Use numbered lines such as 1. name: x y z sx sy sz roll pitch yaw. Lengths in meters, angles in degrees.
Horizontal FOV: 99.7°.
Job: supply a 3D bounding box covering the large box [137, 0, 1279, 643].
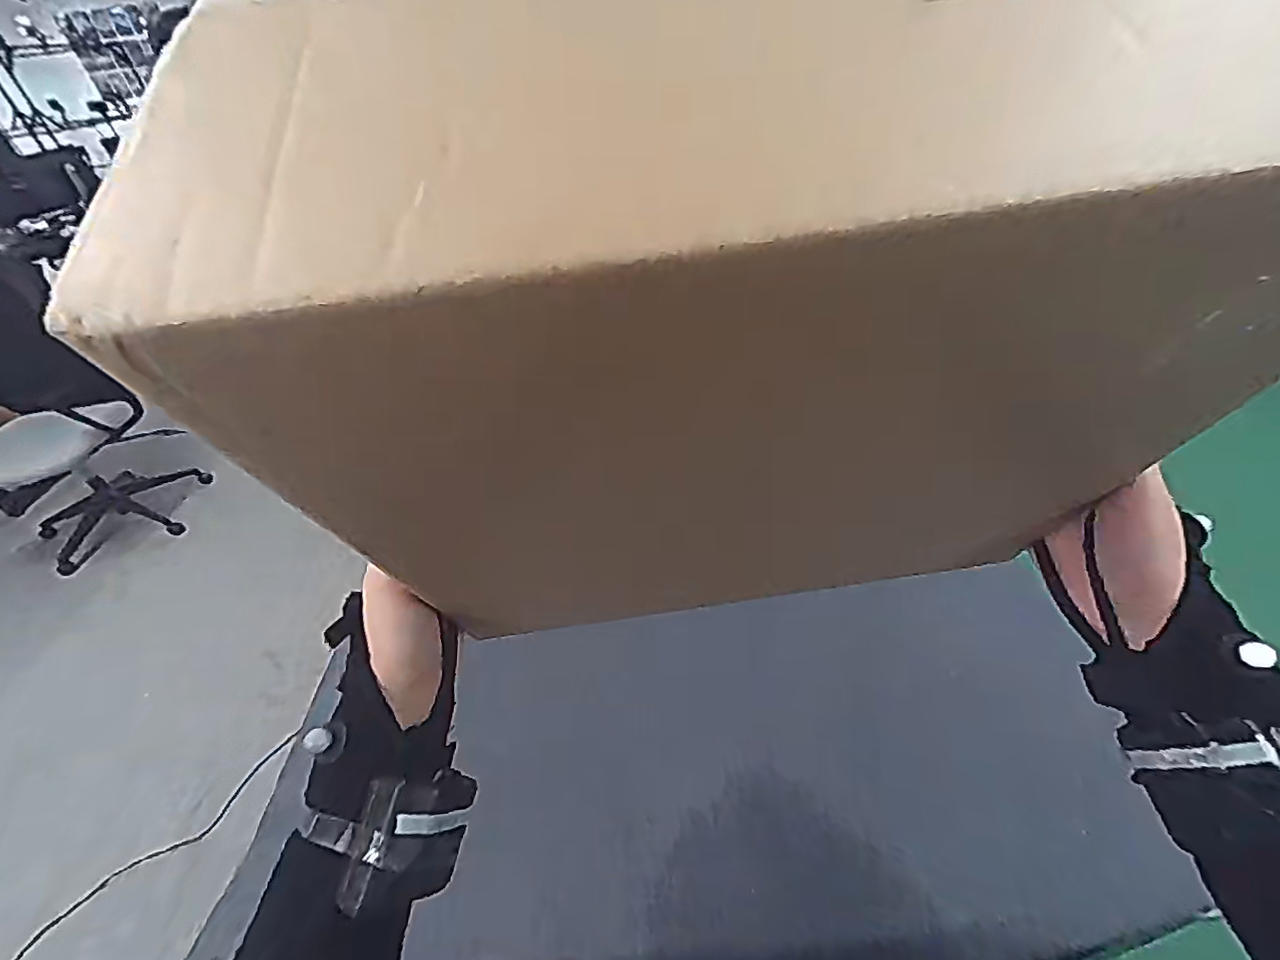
1. large box: 0.043 -0.112 0.352 0.408 0.320 0.320 -9 61 -2
